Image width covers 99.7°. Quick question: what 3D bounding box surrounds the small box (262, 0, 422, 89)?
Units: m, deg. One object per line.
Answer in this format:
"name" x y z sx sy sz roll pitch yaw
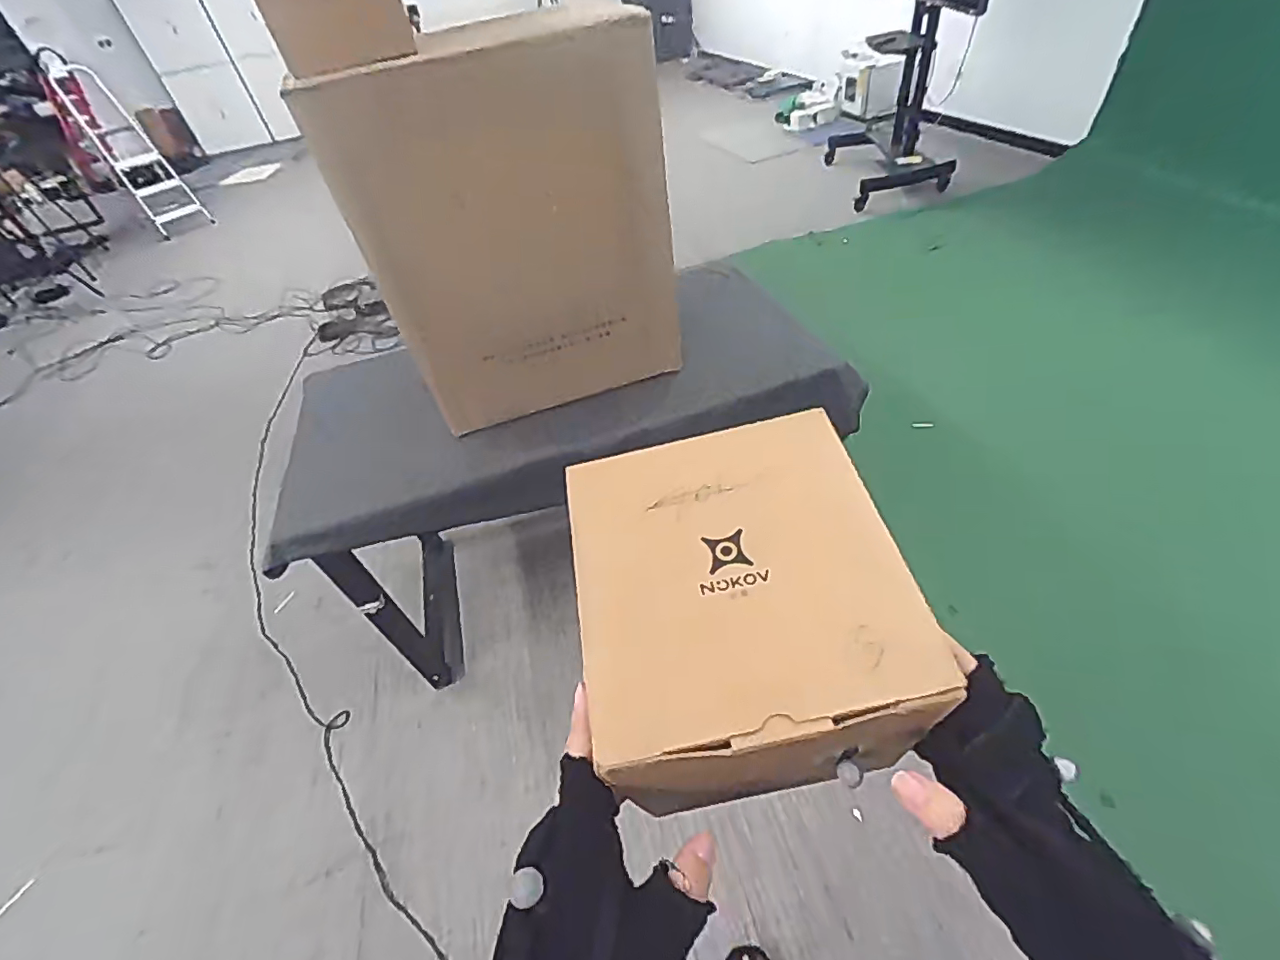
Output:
"small box" -0.414 -0.667 0.743 0.179 0.176 0.168 -20 48 -10

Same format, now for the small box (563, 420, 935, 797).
"small box" 0.054 0.093 0.355 0.168 0.176 0.179 -12 51 1
